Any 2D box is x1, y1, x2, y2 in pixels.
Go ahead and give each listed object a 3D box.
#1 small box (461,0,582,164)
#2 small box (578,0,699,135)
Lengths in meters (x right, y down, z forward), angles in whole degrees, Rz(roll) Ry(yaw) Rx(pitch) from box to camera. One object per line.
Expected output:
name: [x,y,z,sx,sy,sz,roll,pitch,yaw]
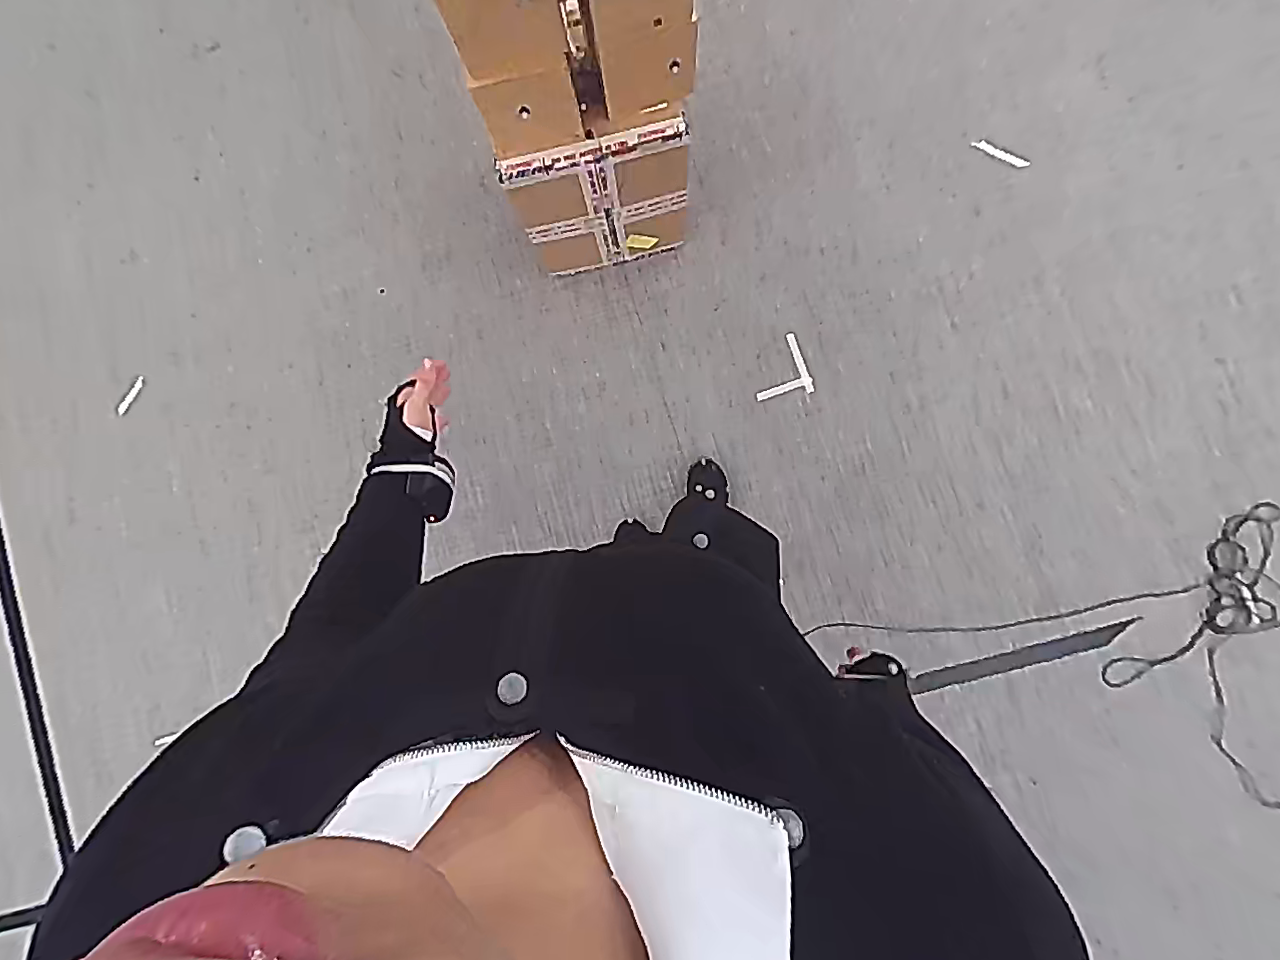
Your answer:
small box: [-0.210,-0.729,1.011,0.179,0.176,0.168,-9,88,4]
small box: [-0.002,-0.788,1.000,0.179,0.176,0.168,-18,87,2]
